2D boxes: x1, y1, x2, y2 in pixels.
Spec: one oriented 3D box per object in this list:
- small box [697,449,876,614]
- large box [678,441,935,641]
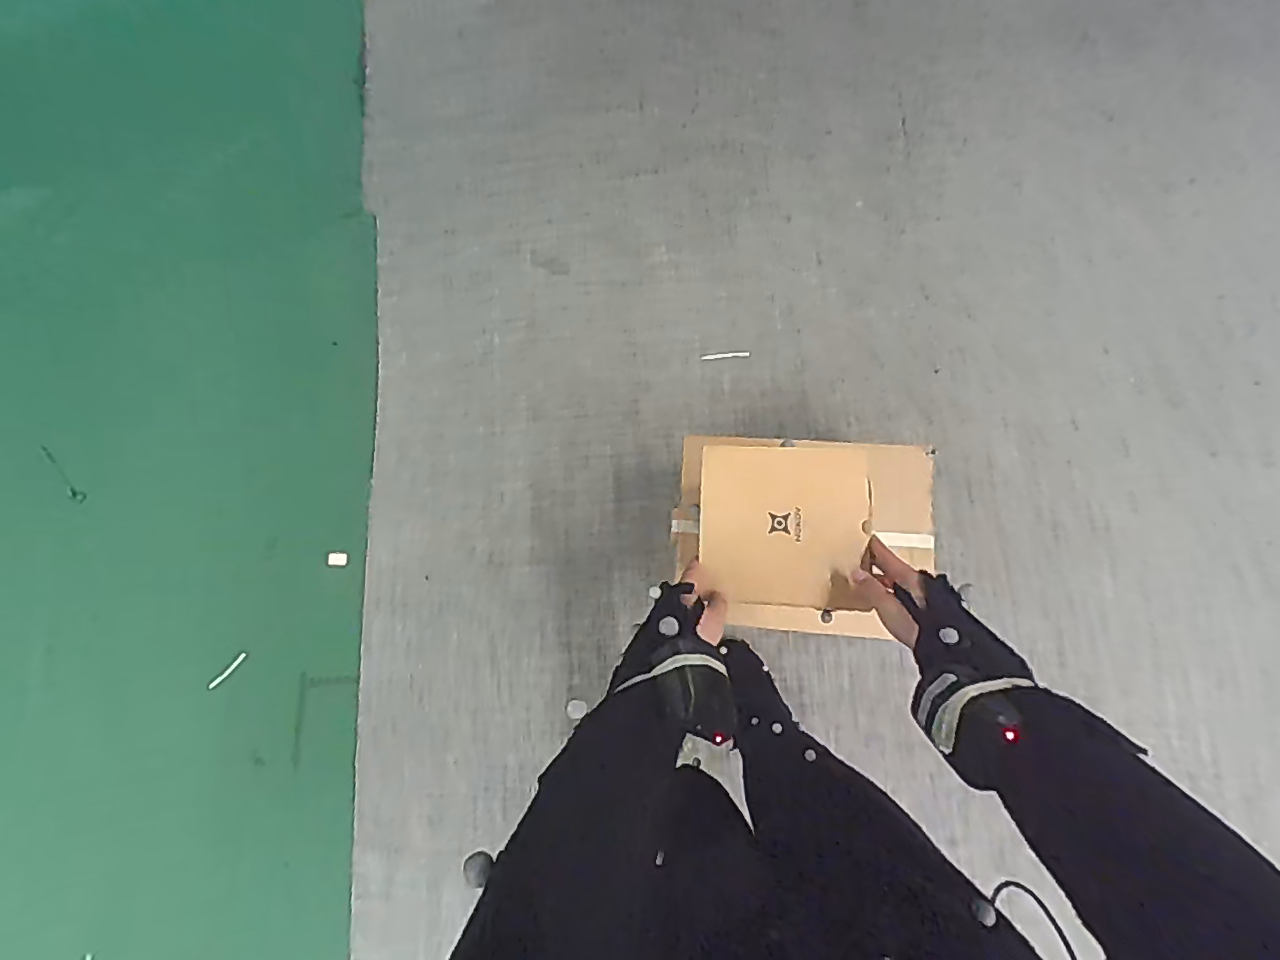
[{"bbox_3d":[0.158,0.067,0.630,0.179,0.176,0.168,2,78,6],"label":"small box"},{"bbox_3d":[0.281,0.116,1.023,0.408,0.320,0.320,3,82,7],"label":"large box"}]
